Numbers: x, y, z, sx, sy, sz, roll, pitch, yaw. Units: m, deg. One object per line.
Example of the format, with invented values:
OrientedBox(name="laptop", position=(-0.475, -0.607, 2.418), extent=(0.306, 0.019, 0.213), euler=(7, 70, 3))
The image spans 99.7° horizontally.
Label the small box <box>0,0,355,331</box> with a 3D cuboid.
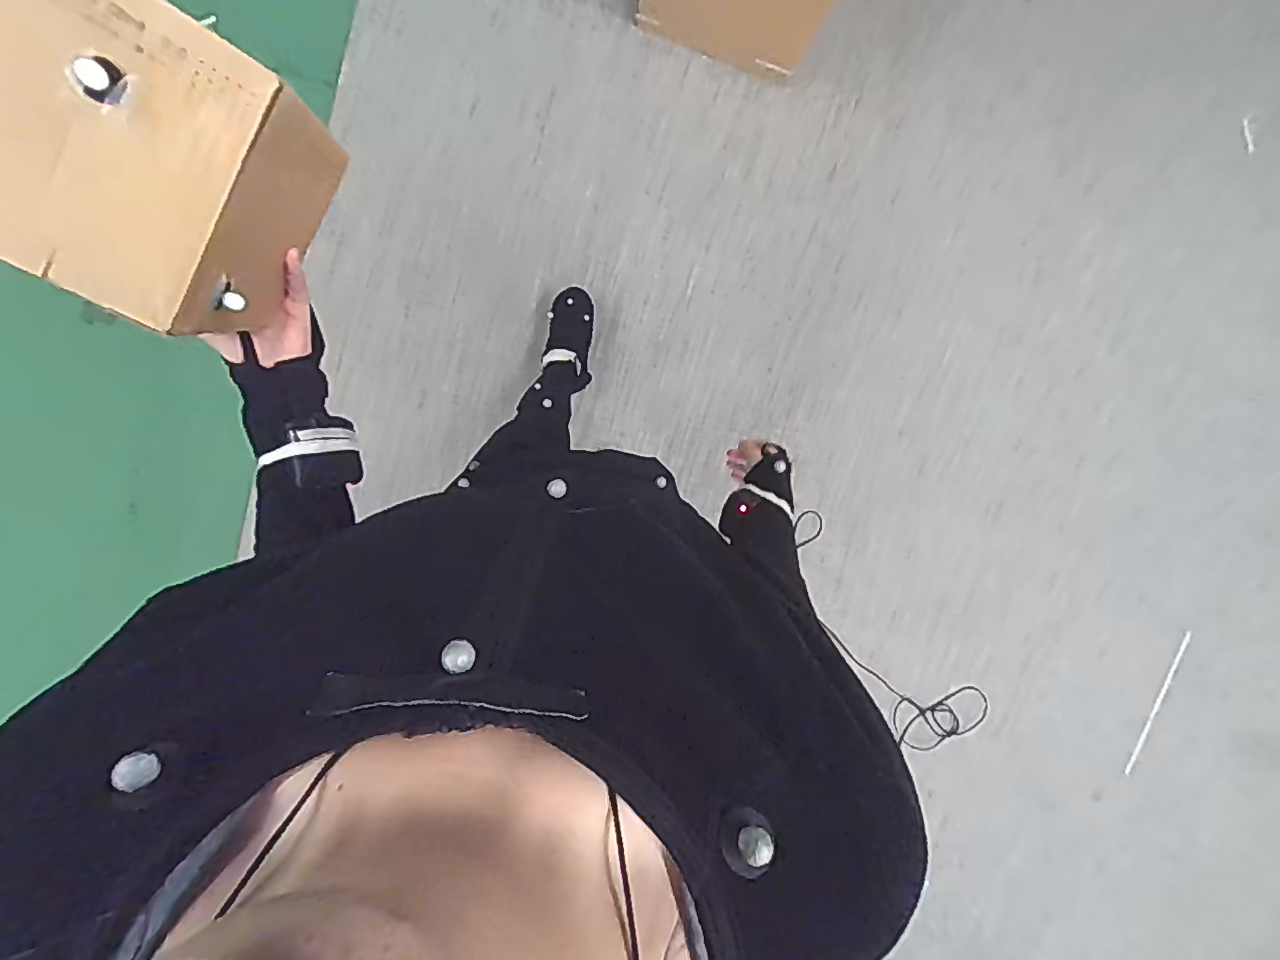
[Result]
OrientedBox(name="small box", position=(-0.323, -0.222, 0.367), extent=(0.168, 0.179, 0.176), euler=(28, 97, -21))
